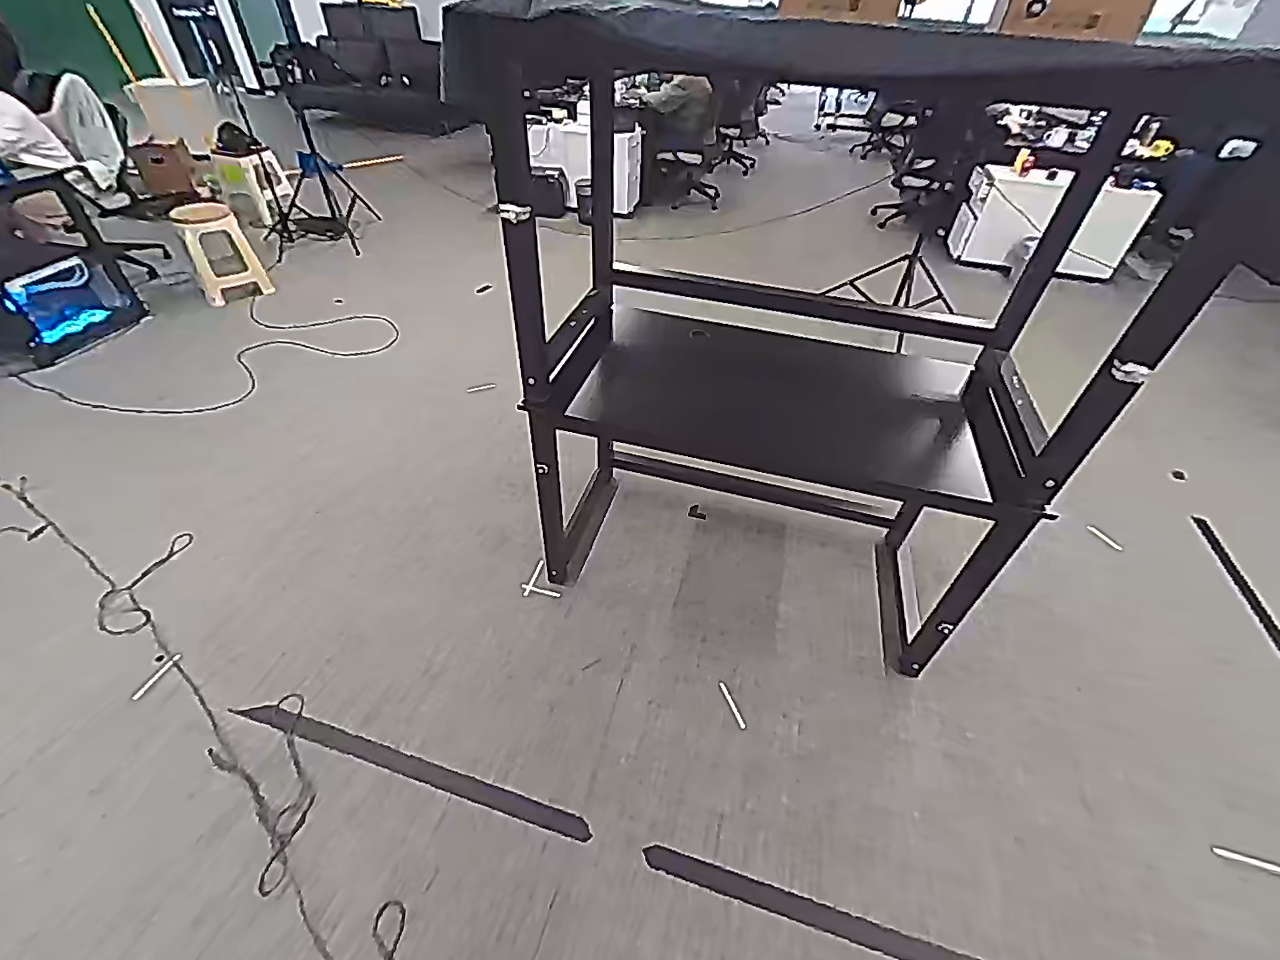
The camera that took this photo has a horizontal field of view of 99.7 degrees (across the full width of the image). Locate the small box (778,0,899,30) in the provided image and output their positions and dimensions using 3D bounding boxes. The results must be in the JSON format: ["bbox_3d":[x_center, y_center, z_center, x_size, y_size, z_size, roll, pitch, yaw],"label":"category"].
[{"bbox_3d":[0.300,-0.758,0.769,0.168,0.176,0.179,13,41,11],"label":"small box"}]

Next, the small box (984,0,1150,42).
[{"bbox_3d":[0.589,-0.695,0.720,0.168,0.176,0.179,15,42,13],"label":"small box"}]
